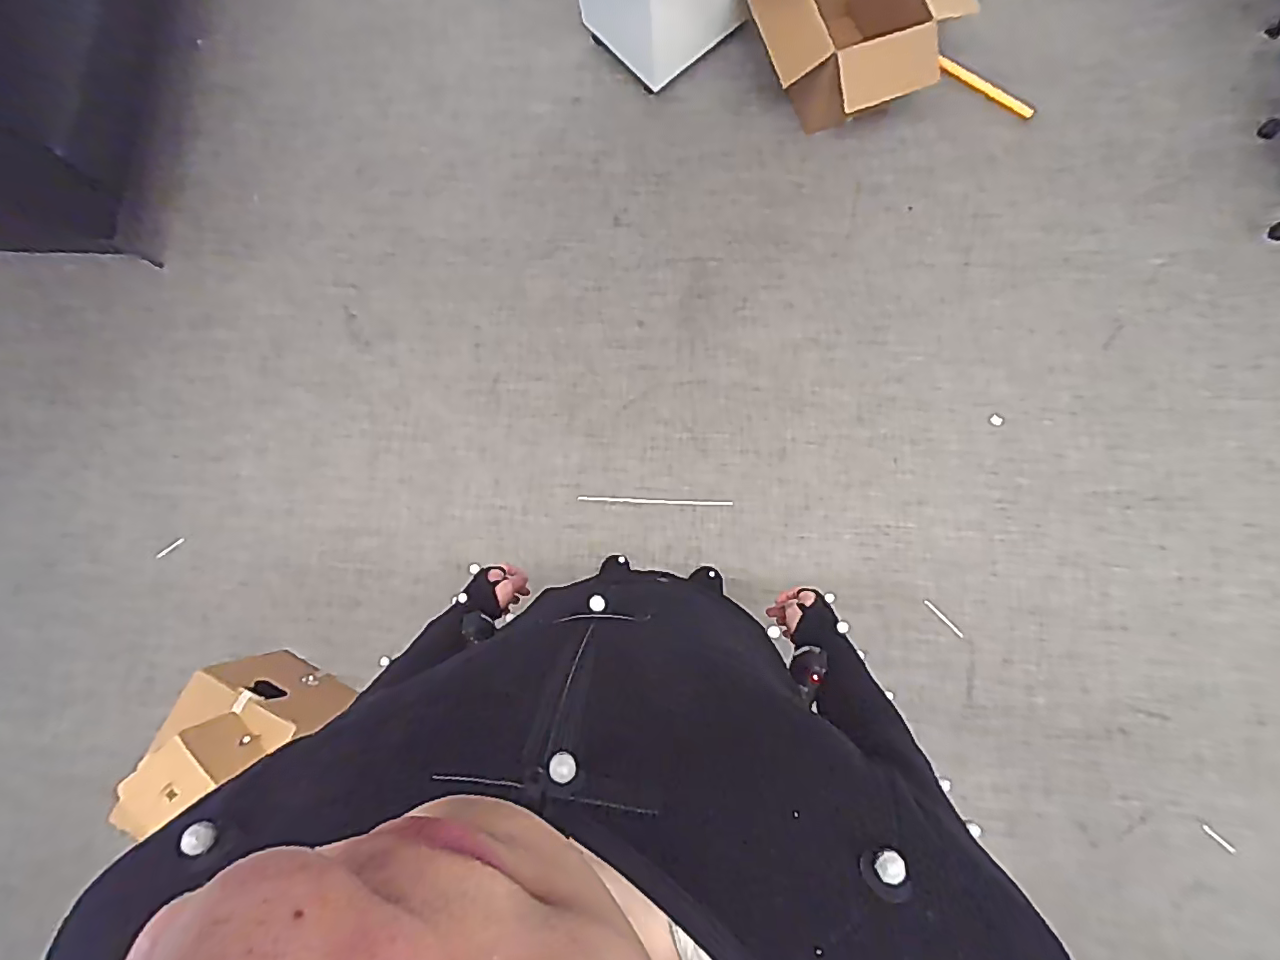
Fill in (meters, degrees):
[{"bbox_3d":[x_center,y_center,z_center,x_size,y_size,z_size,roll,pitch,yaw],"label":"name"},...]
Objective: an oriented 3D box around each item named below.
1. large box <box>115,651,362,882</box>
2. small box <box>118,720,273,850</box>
[{"bbox_3d":[-1.052,0.737,1.468,0.320,0.320,0.408,26,84,7],"label":"large box"},{"bbox_3d":[-0.995,0.673,1.226,0.168,0.176,0.179,-44,83,-4],"label":"small box"}]
